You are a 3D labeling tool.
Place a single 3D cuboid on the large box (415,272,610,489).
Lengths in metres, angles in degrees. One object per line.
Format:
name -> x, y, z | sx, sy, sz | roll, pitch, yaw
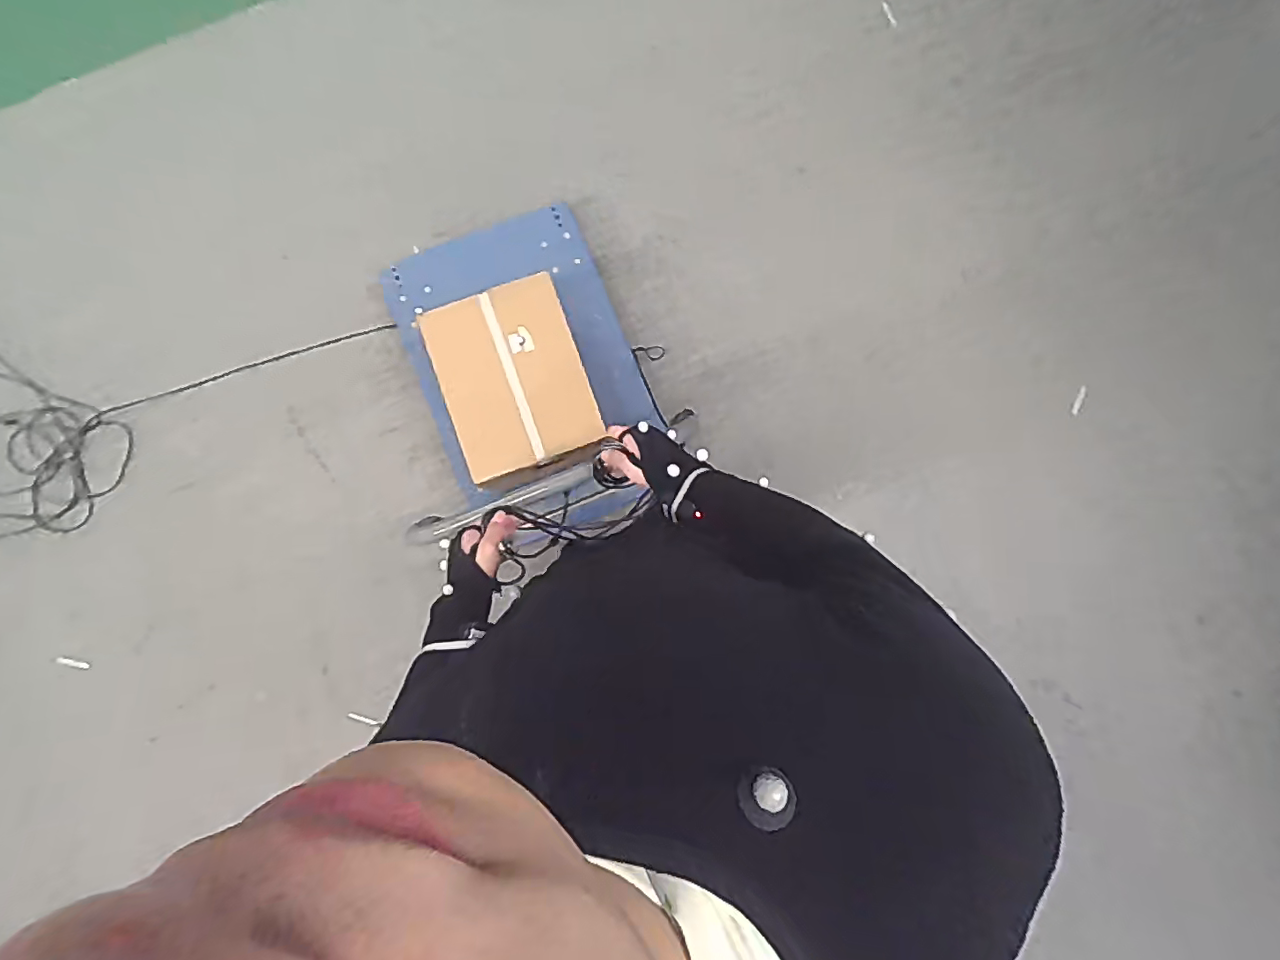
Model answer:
large box -> -0.287, -0.219, 1.334 | 0.320, 0.320, 0.408 | -20, 87, -4
